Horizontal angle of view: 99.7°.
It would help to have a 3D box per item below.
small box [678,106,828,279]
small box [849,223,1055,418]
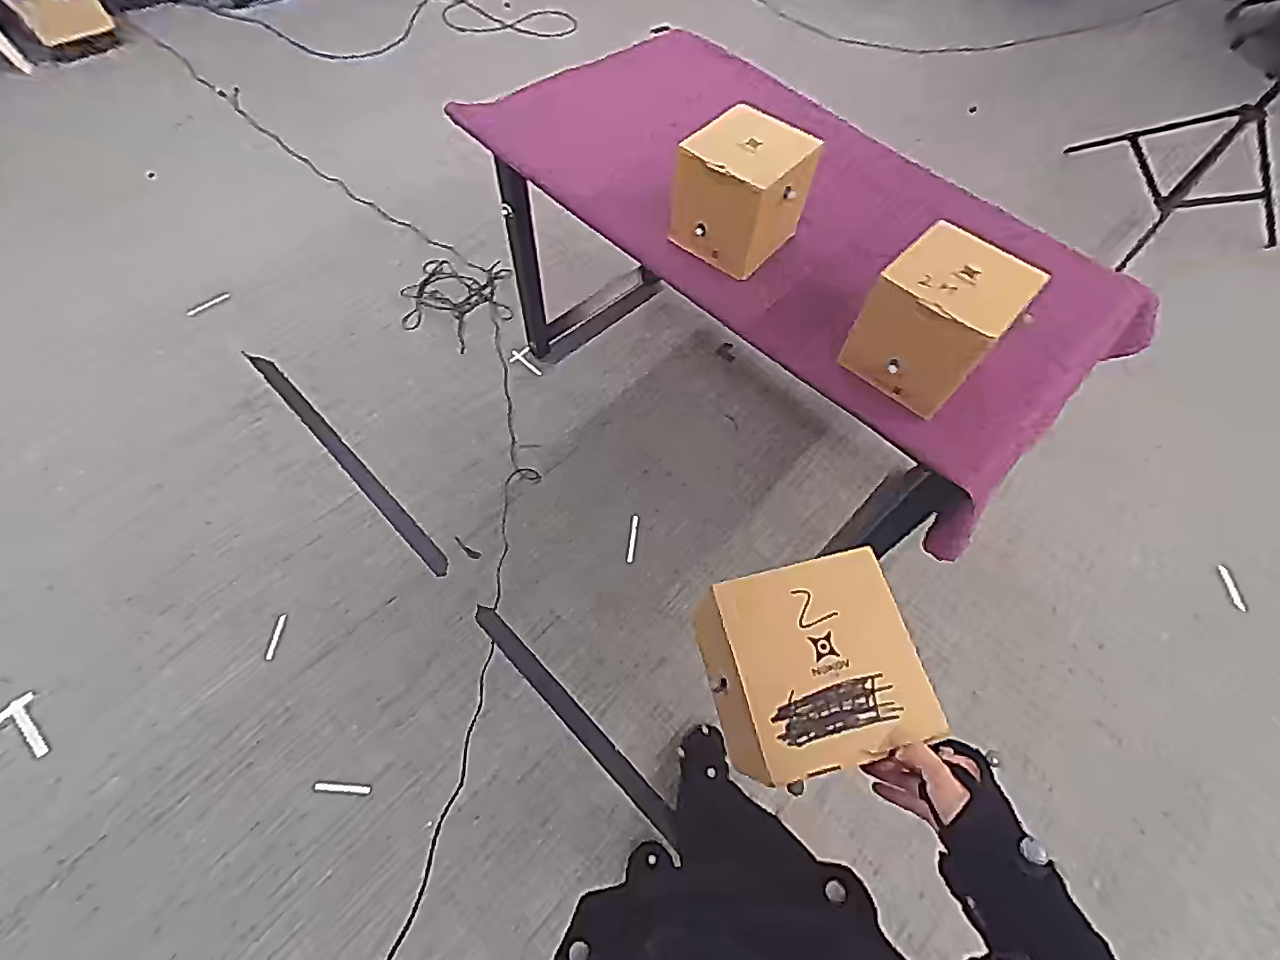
[{"bbox_3d":[0.178,-0.480,0.912,0.168,0.176,0.179,37,66,16],"label":"small box"},{"bbox_3d":[0.436,-0.227,0.784,0.168,0.176,0.179,40,66,19],"label":"small box"}]
